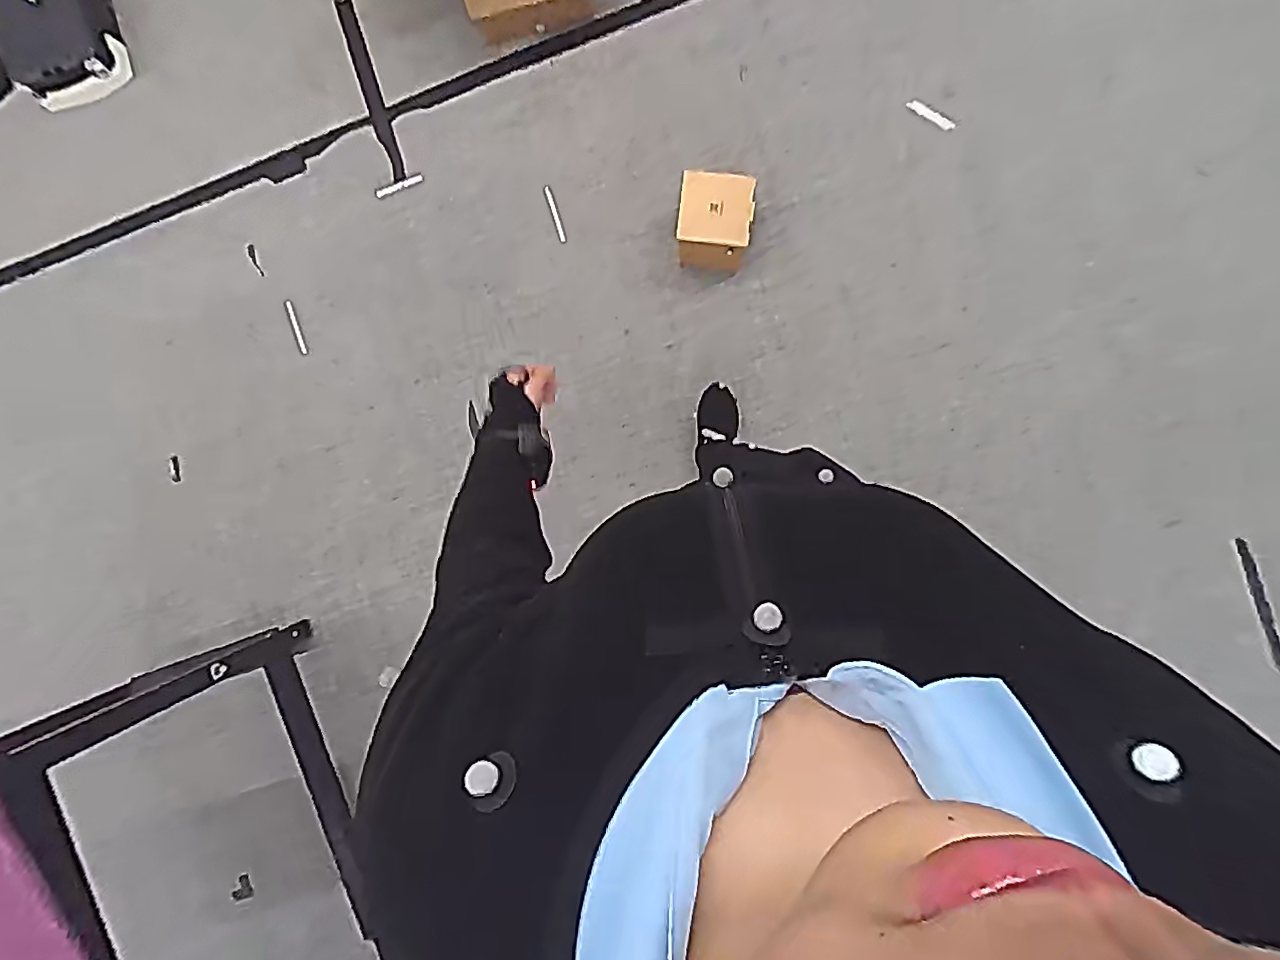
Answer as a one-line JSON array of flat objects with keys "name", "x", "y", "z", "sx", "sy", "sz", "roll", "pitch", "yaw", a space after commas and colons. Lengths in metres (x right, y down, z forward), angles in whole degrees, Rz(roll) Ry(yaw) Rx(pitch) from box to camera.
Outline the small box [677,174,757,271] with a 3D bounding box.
[{"name": "small box", "x": 0.189, "y": -0.645, "z": 1.374, "sx": 0.179, "sy": 0.176, "sz": 0.168, "roll": 7, "pitch": 92, "yaw": 3}]
